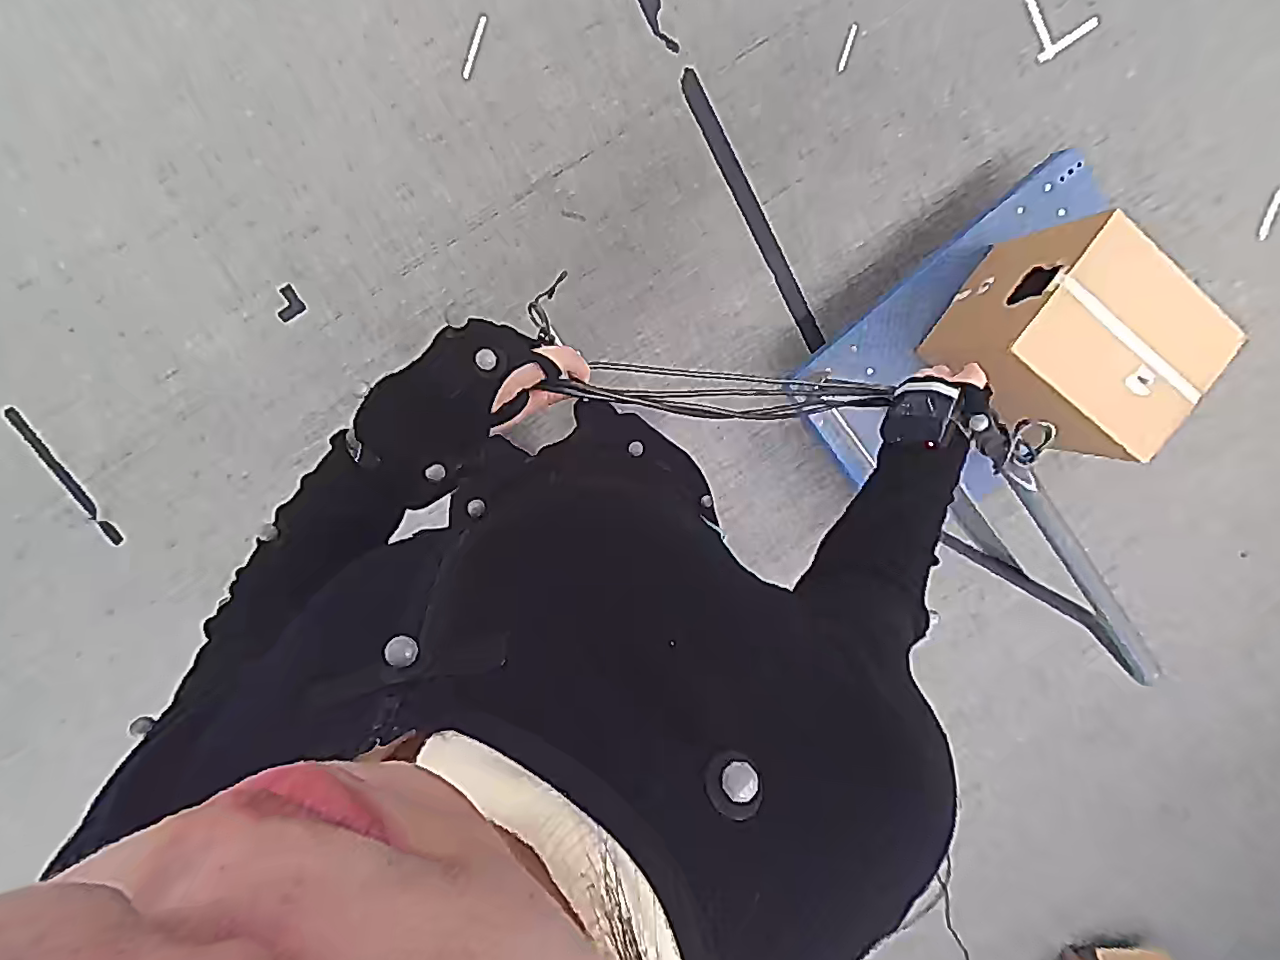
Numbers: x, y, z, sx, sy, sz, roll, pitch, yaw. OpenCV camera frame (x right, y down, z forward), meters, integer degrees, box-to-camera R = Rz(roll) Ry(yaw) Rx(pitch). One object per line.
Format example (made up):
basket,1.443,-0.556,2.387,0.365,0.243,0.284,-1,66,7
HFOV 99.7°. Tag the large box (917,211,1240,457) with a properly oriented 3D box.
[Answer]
large box,0.926,-0.301,1.190,0.408,0.320,0.320,33,97,-12
